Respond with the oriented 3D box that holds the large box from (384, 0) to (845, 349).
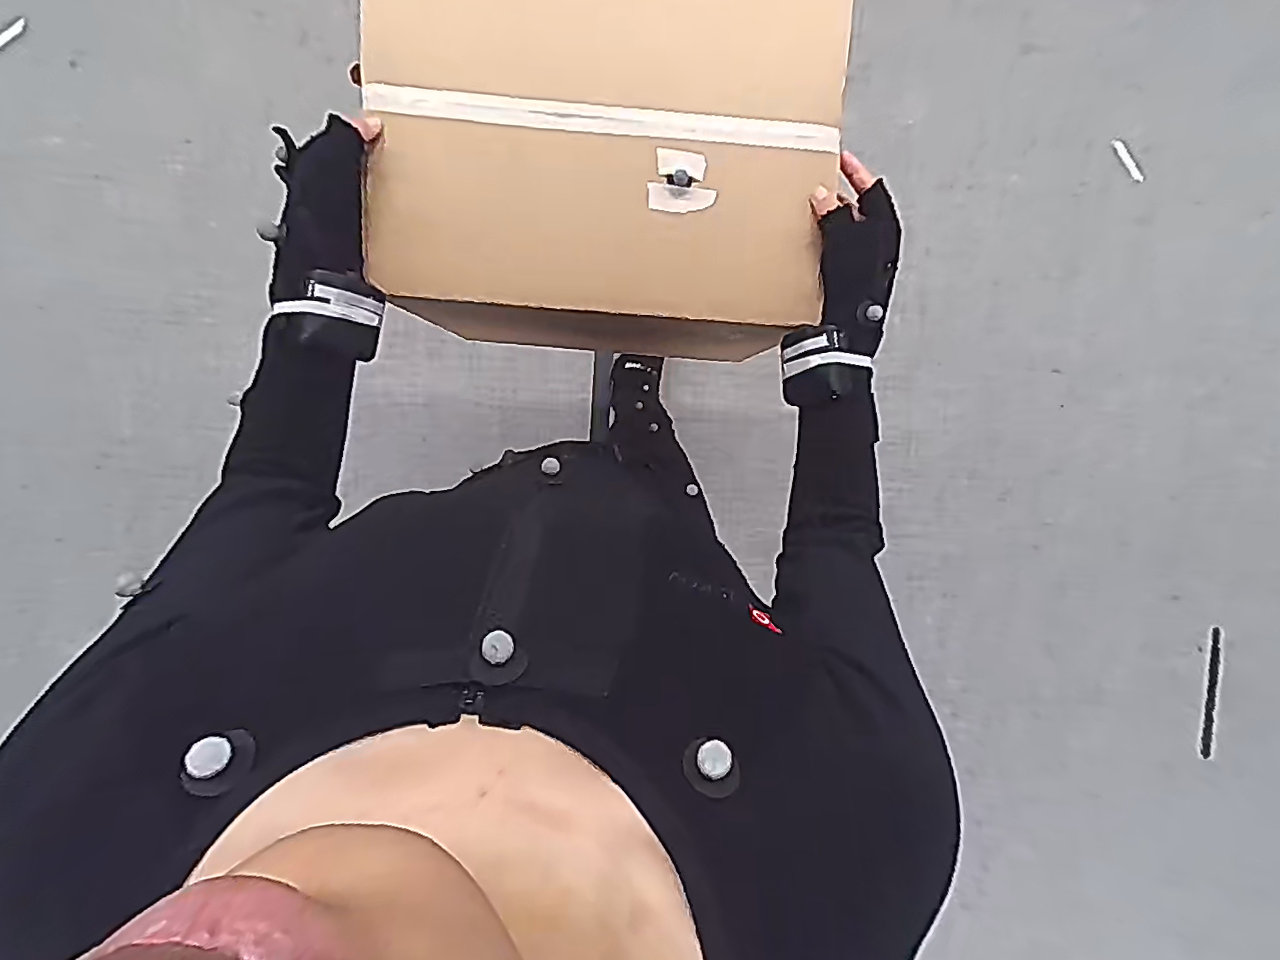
[{"bbox_3d":[-0.033,-0.335,0.626,0.408,0.320,0.320,3,98,-3],"label":"large box"}]
